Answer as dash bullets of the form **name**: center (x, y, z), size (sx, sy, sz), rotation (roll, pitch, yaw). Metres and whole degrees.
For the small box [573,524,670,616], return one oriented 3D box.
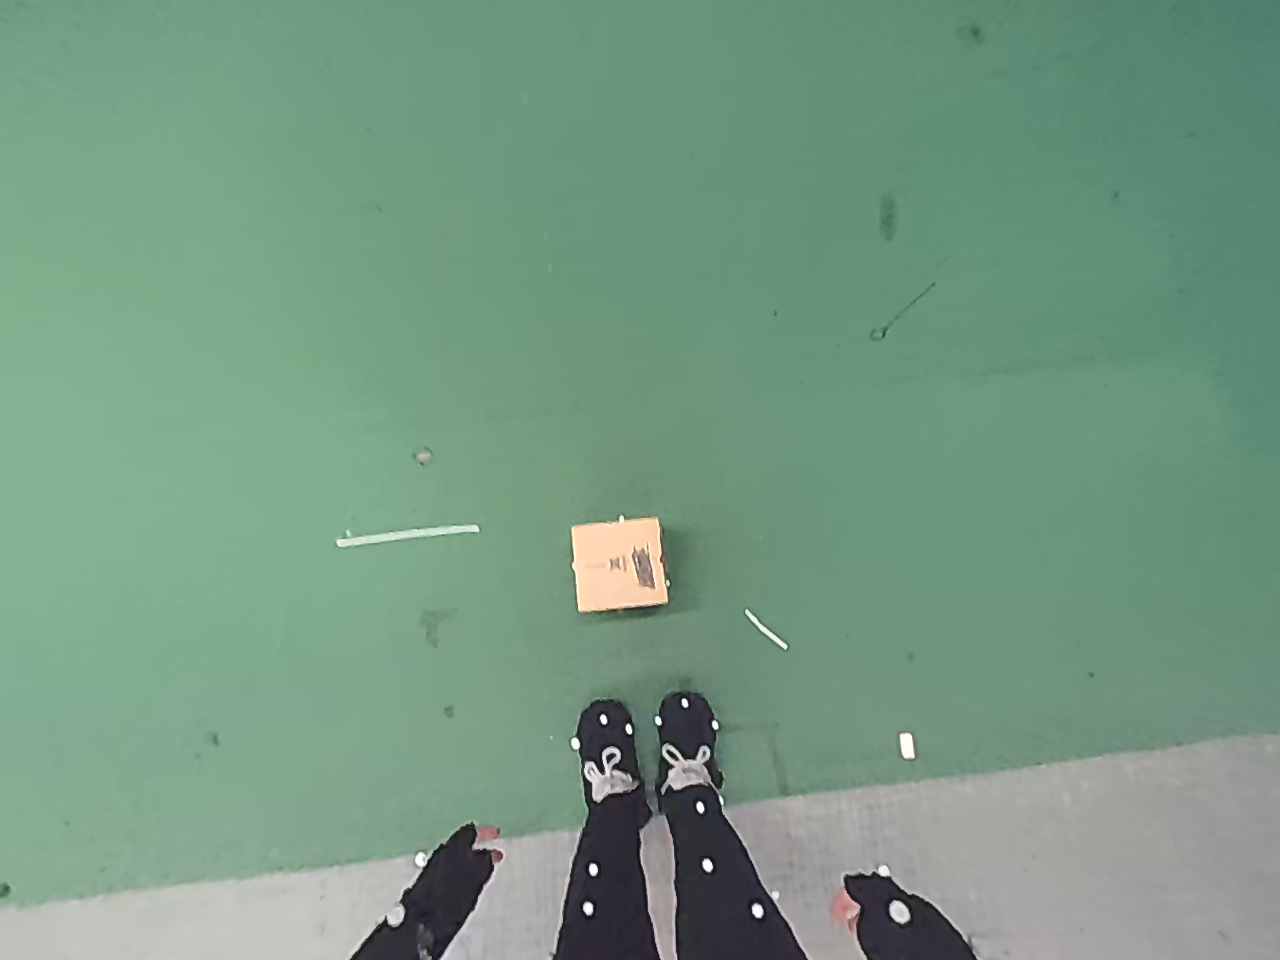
- **small box**: center (-0.037, 0.182, 1.111), size (0.179, 0.176, 0.168), rotation (-6, 81, -1)
